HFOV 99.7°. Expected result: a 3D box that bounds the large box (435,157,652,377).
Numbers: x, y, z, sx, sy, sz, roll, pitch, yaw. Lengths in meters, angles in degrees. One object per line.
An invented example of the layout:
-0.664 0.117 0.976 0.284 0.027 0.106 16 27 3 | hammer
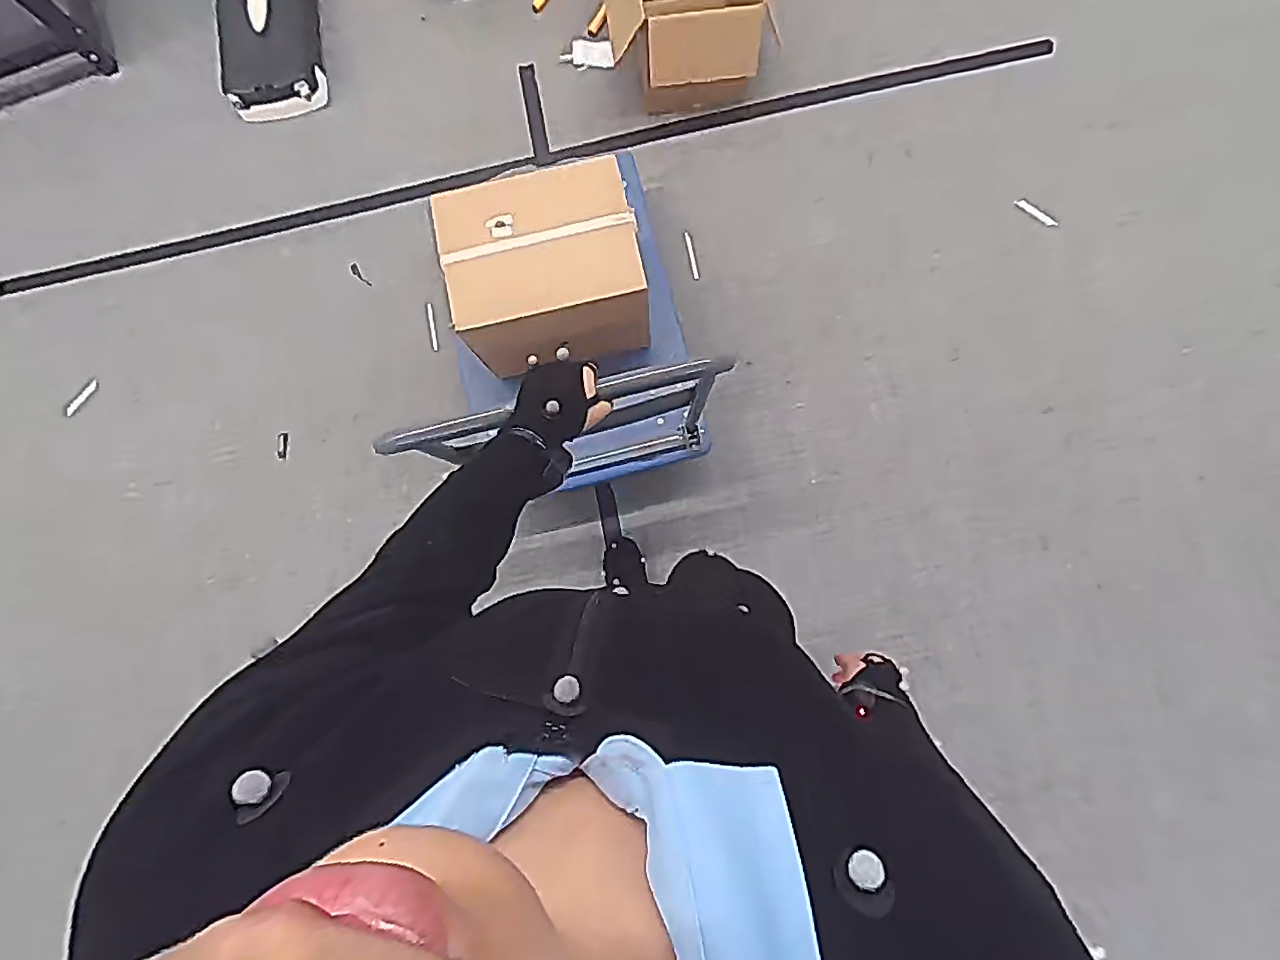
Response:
-0.204 -0.475 1.275 0.408 0.320 0.320 -13 81 1 | large box
